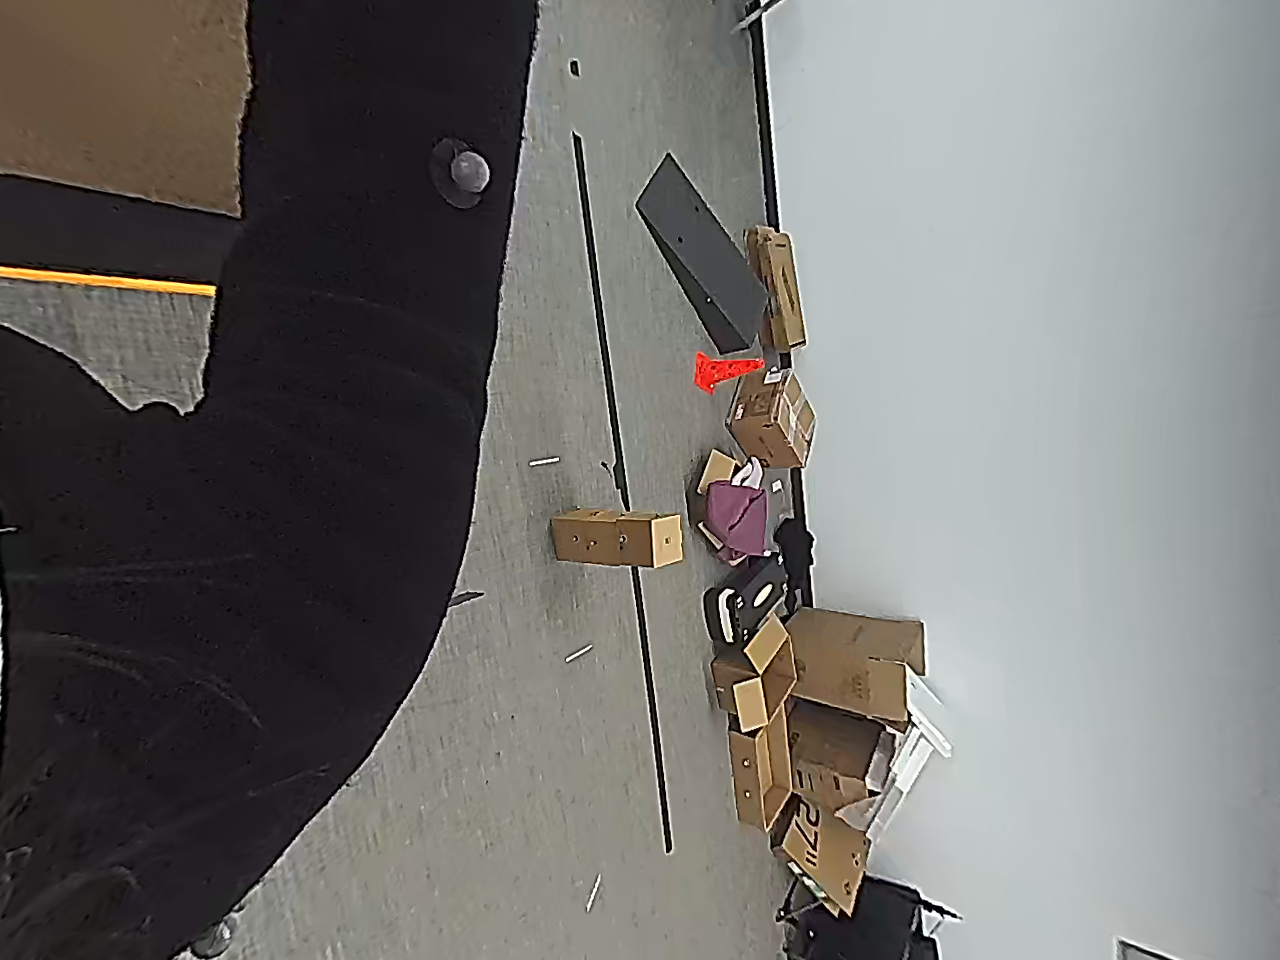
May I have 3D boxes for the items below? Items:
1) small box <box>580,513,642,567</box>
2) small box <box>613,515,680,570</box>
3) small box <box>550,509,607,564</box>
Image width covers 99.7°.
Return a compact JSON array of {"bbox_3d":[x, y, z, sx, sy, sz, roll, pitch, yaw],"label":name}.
[{"bbox_3d":[-0.101,0.218,2.020,0.179,0.176,0.168,-15,100,-51],"label":"small box"},{"bbox_3d":[0.023,0.215,1.915,0.179,0.176,0.168,-6,93,-51],"label":"small box"},{"bbox_3d":[-0.232,0.217,2.120,0.168,0.176,0.179,-21,106,-50],"label":"small box"}]
